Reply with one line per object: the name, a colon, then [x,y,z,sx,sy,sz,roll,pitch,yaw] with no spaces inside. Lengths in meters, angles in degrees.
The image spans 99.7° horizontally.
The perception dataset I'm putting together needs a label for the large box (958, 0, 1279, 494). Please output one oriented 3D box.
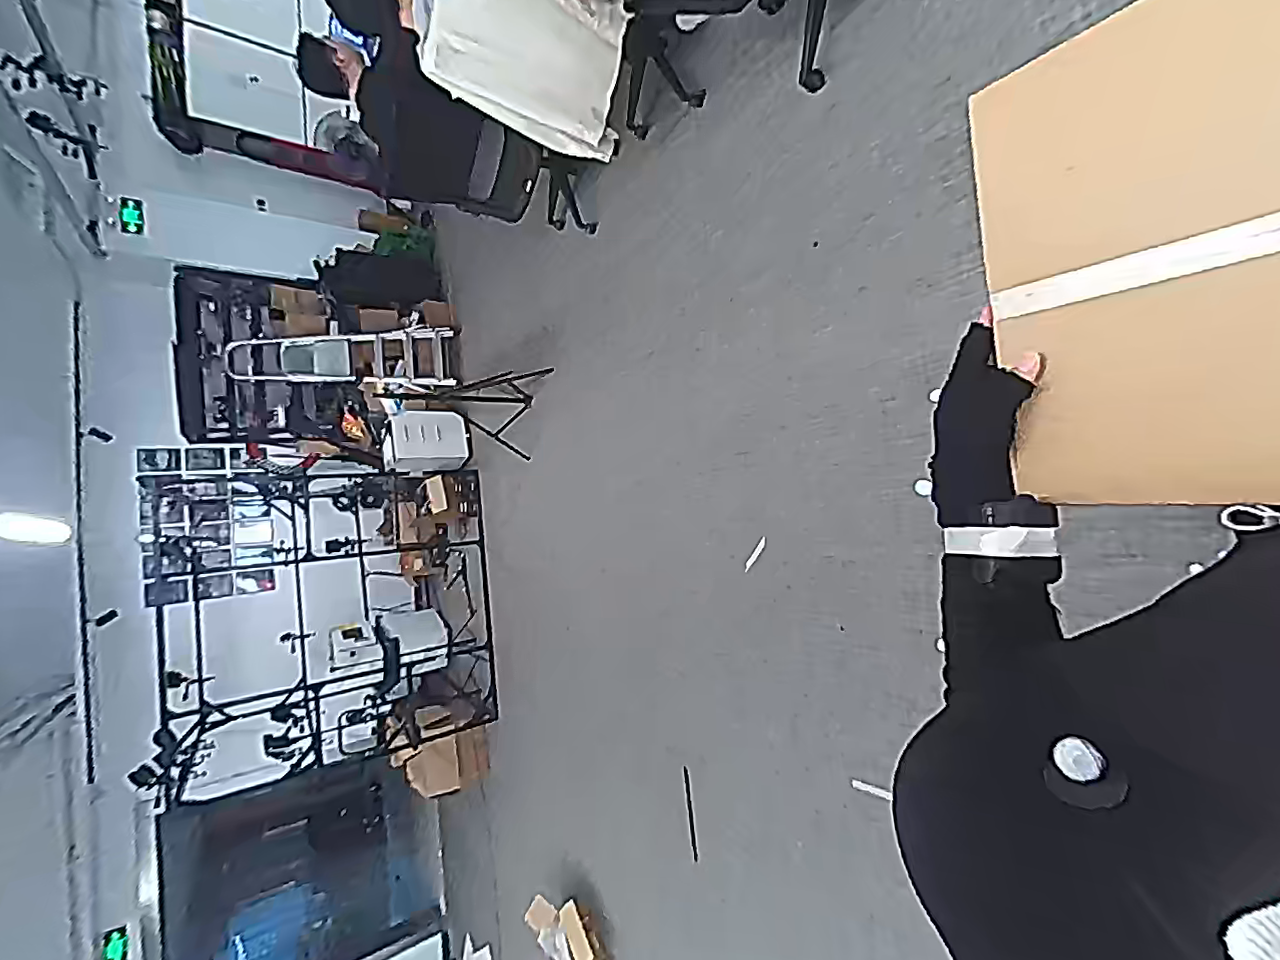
large box: [0.505,-0.178,0.352,0.408,0.320,0.320,-5,96,54]
